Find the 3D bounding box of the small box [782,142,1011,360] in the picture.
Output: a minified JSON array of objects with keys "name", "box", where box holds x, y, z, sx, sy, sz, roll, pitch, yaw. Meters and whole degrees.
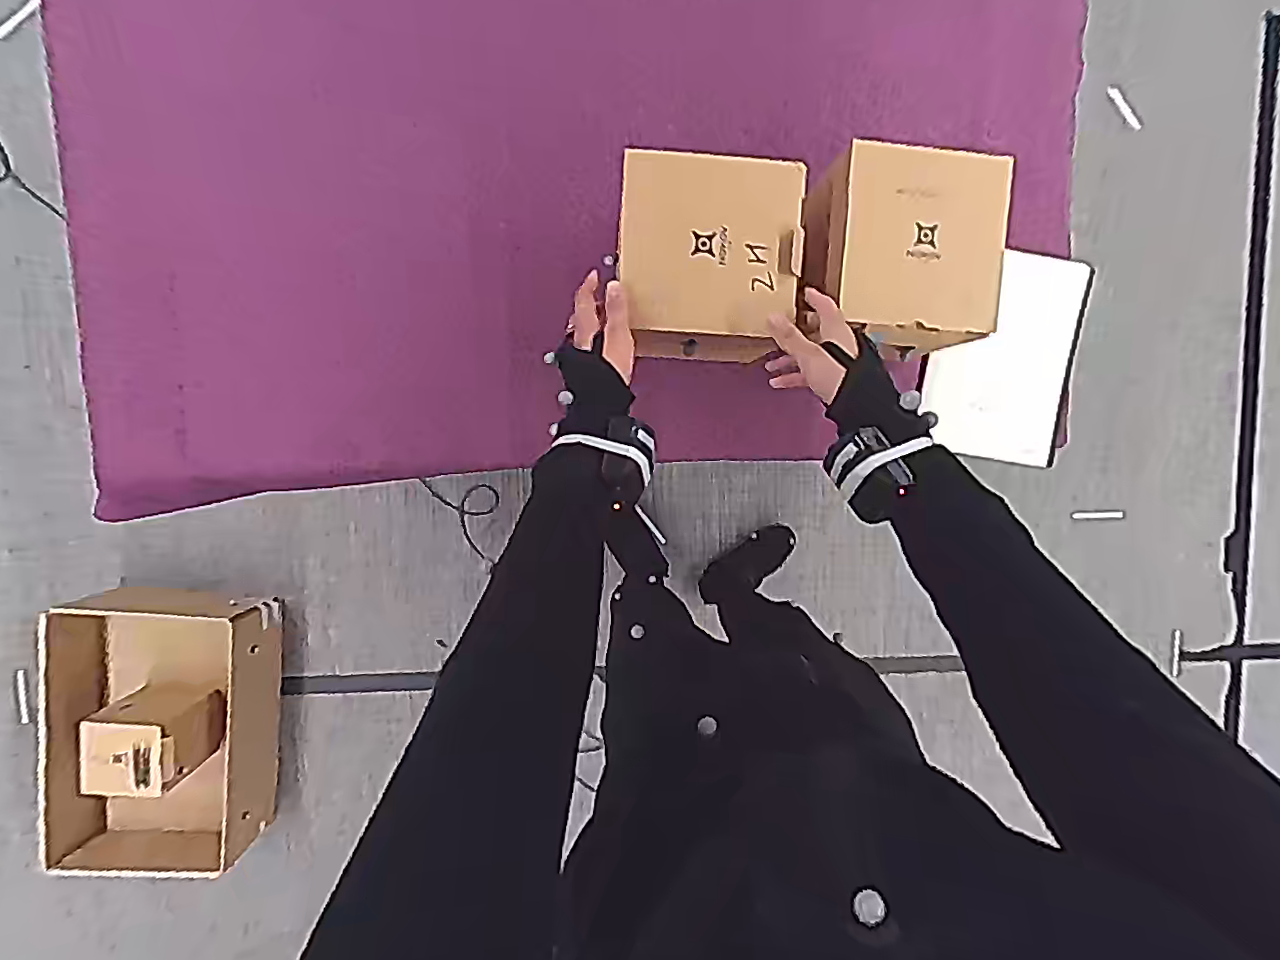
[{"name":"small box","box":[0.268,-0.236,0.605,0.168,0.176,0.179,4,93,-5]}]
